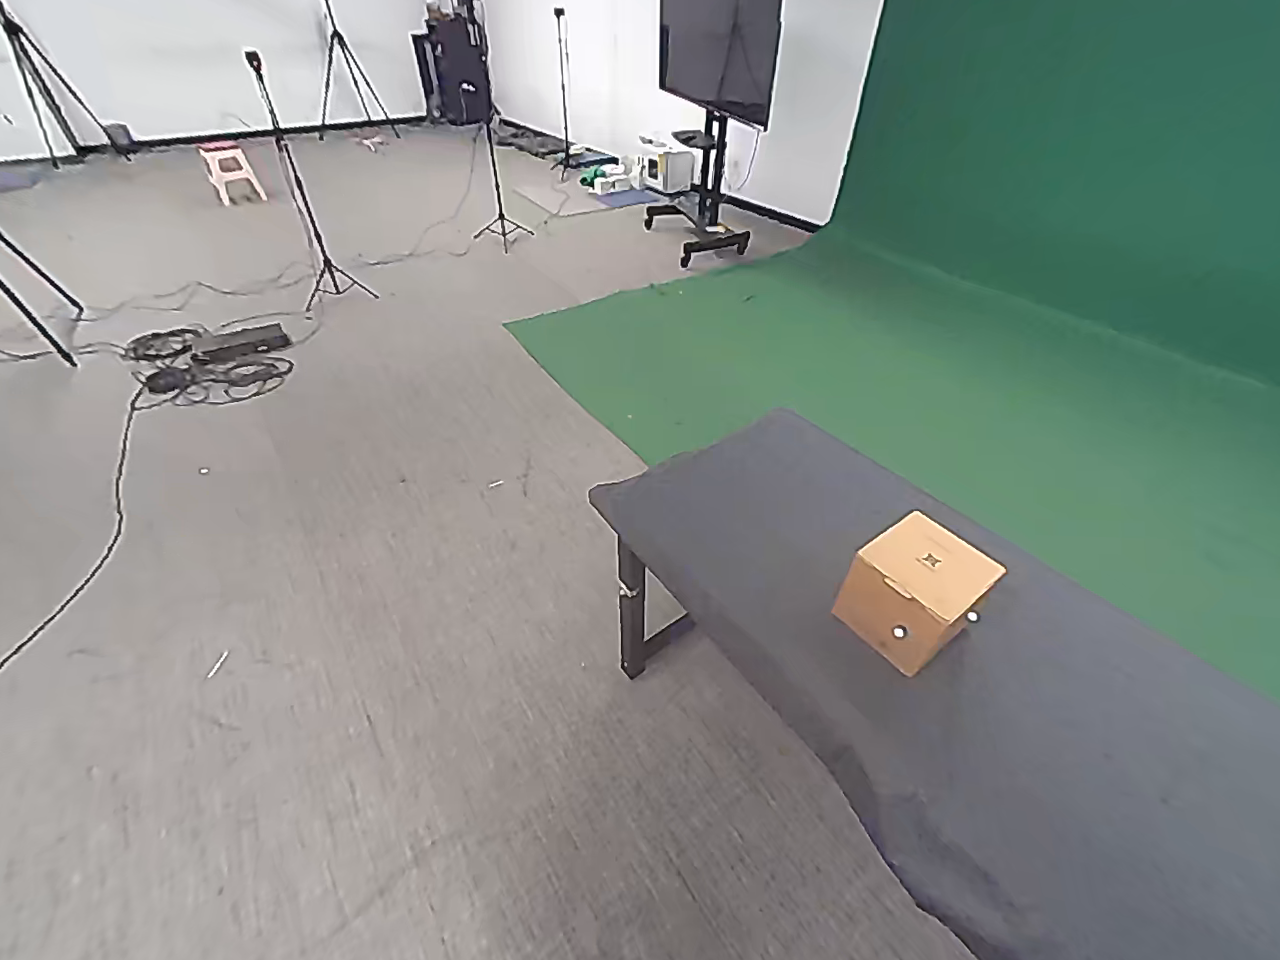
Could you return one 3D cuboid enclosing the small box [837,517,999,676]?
[{"bbox_3d":[0.467,0.203,0.938,0.179,0.176,0.168,-25,49,-28],"label":"small box"}]
